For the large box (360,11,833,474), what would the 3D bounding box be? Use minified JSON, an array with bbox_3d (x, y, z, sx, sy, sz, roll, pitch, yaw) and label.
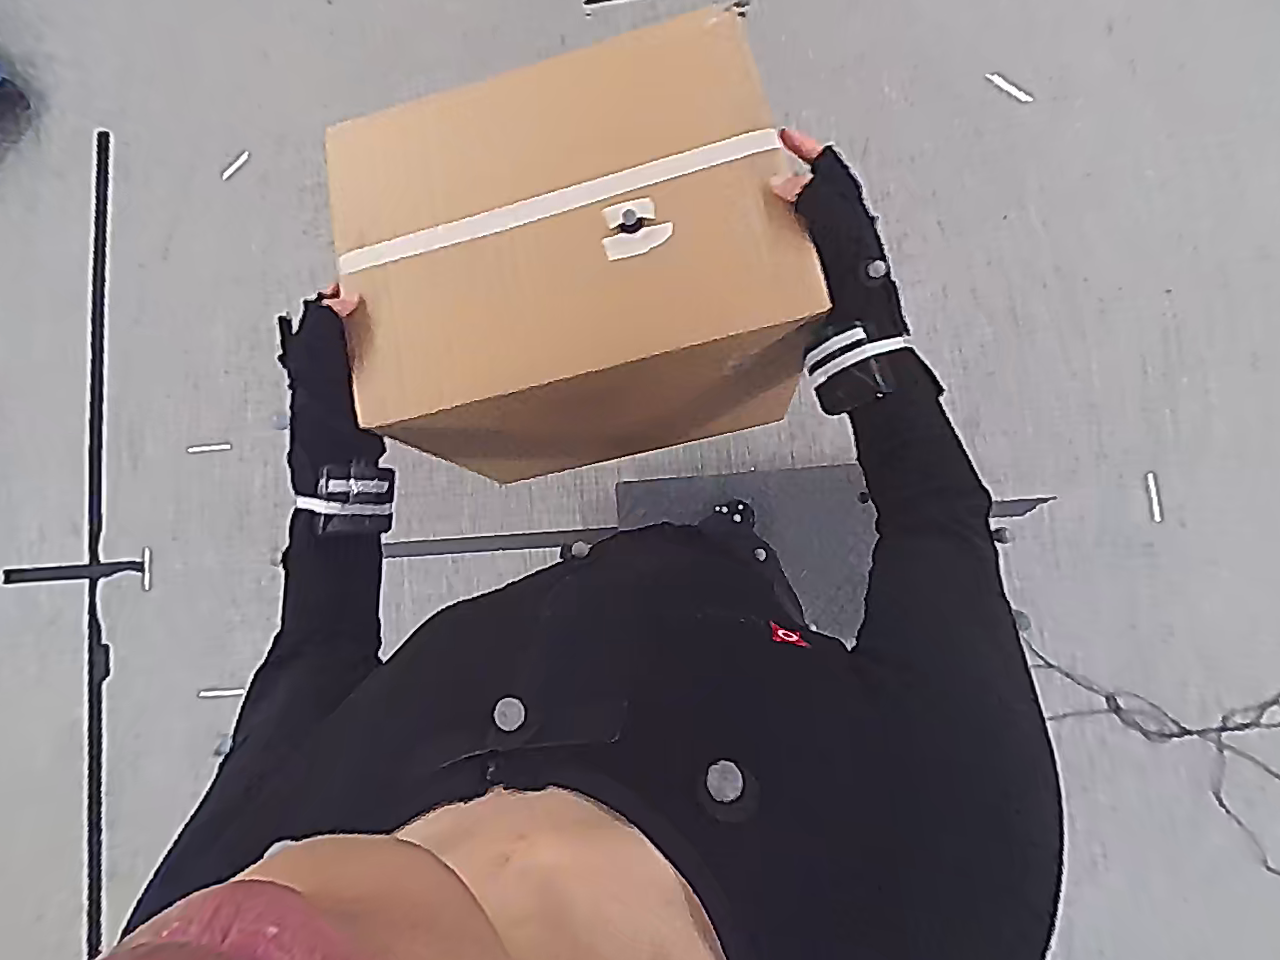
[{"bbox_3d":[-0.042,-0.221,0.635,0.408,0.320,0.320,-12,79,6],"label":"large box"}]
